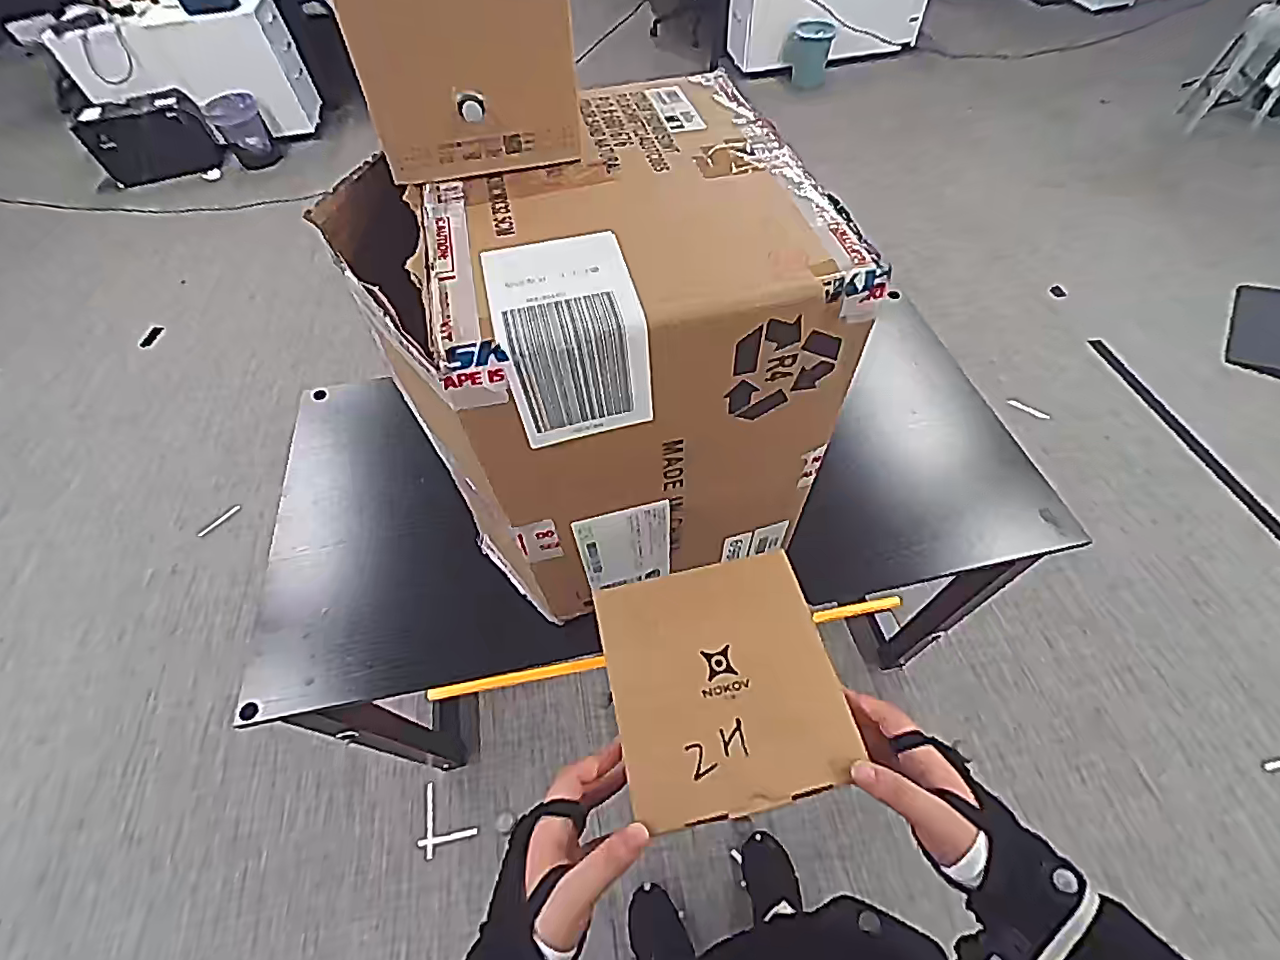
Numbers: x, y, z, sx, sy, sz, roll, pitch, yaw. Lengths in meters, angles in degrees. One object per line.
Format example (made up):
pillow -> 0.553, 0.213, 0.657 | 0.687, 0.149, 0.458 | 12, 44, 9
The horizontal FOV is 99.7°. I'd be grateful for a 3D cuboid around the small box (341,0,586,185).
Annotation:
small box -> -0.148, -0.378, 0.456 | 0.168, 0.176, 0.179 | -14, 55, -9
